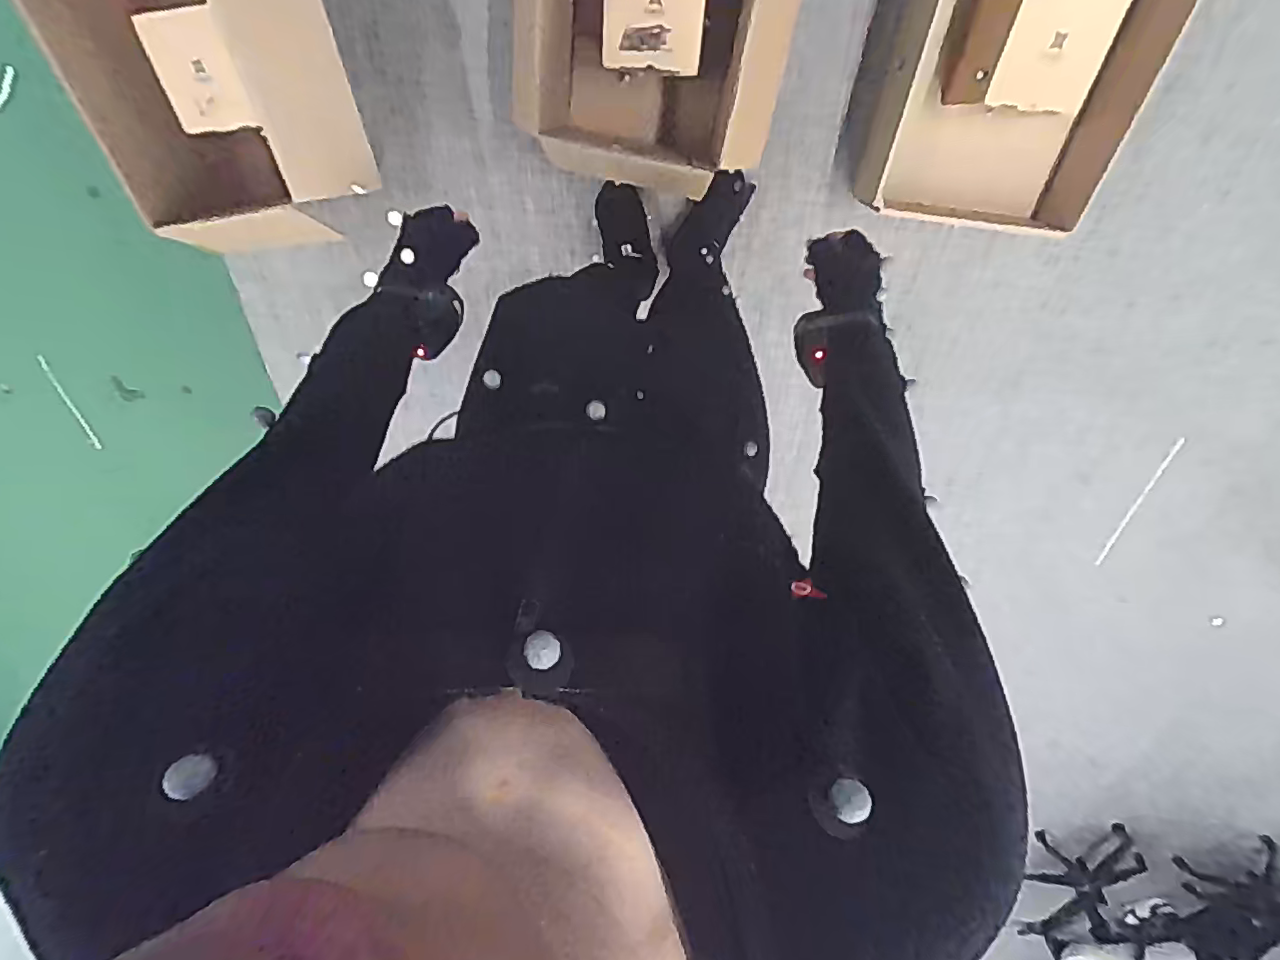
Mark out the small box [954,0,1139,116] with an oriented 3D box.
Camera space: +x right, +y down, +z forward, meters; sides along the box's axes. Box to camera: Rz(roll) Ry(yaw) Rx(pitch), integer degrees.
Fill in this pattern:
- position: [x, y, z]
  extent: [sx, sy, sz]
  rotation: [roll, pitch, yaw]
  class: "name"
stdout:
- position: [0.673, -0.734, 0.918]
  extent: [0.168, 0.176, 0.179]
  rotation: [6, 125, -1]
  class: "small box"
